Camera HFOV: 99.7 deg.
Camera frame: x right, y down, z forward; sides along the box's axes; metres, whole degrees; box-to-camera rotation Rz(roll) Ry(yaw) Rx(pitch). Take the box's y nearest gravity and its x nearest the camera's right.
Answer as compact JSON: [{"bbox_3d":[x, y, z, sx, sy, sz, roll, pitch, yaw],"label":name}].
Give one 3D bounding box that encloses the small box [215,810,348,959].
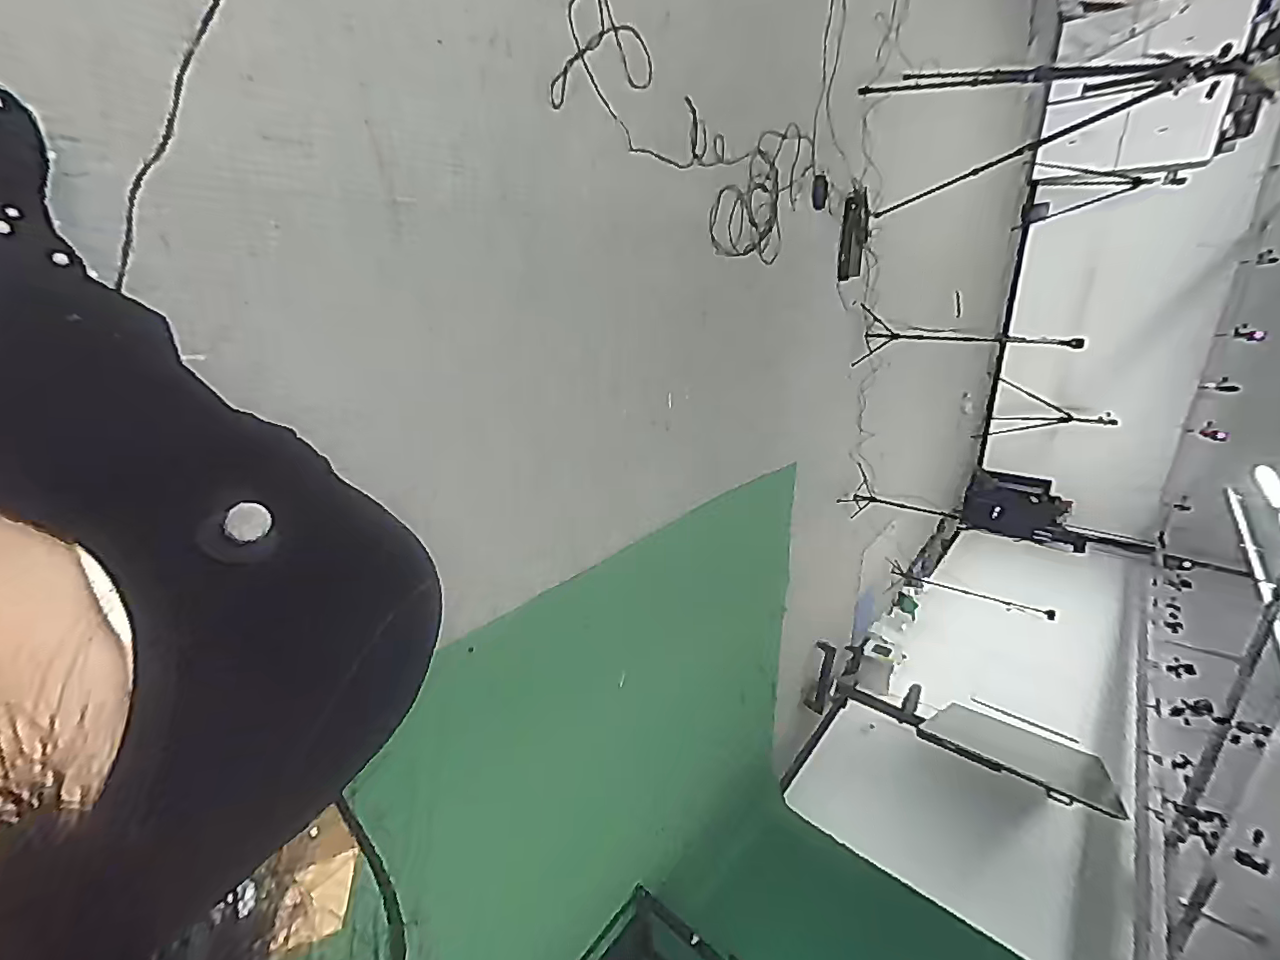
[{"bbox_3d":[-0.714,0.794,1.073,0.168,0.176,0.179,10,94,-51],"label":"small box"}]
